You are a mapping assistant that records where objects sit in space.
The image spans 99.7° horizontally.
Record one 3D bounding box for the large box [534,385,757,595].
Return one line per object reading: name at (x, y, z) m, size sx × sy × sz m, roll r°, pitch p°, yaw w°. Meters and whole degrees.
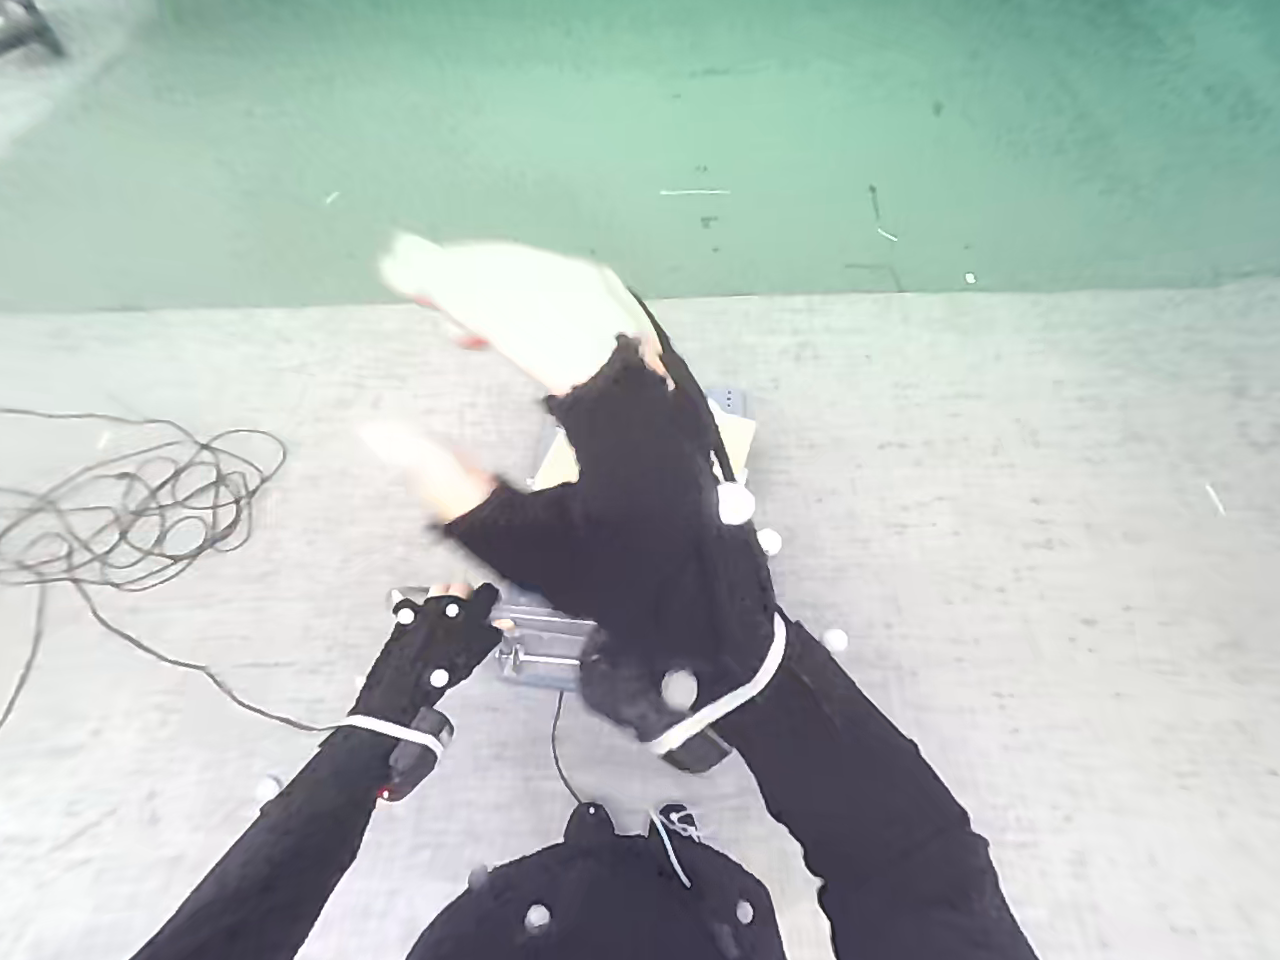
large box at (0.026, 0.031, 1.267) m, size 0.408 × 0.320 × 0.320 m, roll 17°, pitch 63°, yaw 12°
